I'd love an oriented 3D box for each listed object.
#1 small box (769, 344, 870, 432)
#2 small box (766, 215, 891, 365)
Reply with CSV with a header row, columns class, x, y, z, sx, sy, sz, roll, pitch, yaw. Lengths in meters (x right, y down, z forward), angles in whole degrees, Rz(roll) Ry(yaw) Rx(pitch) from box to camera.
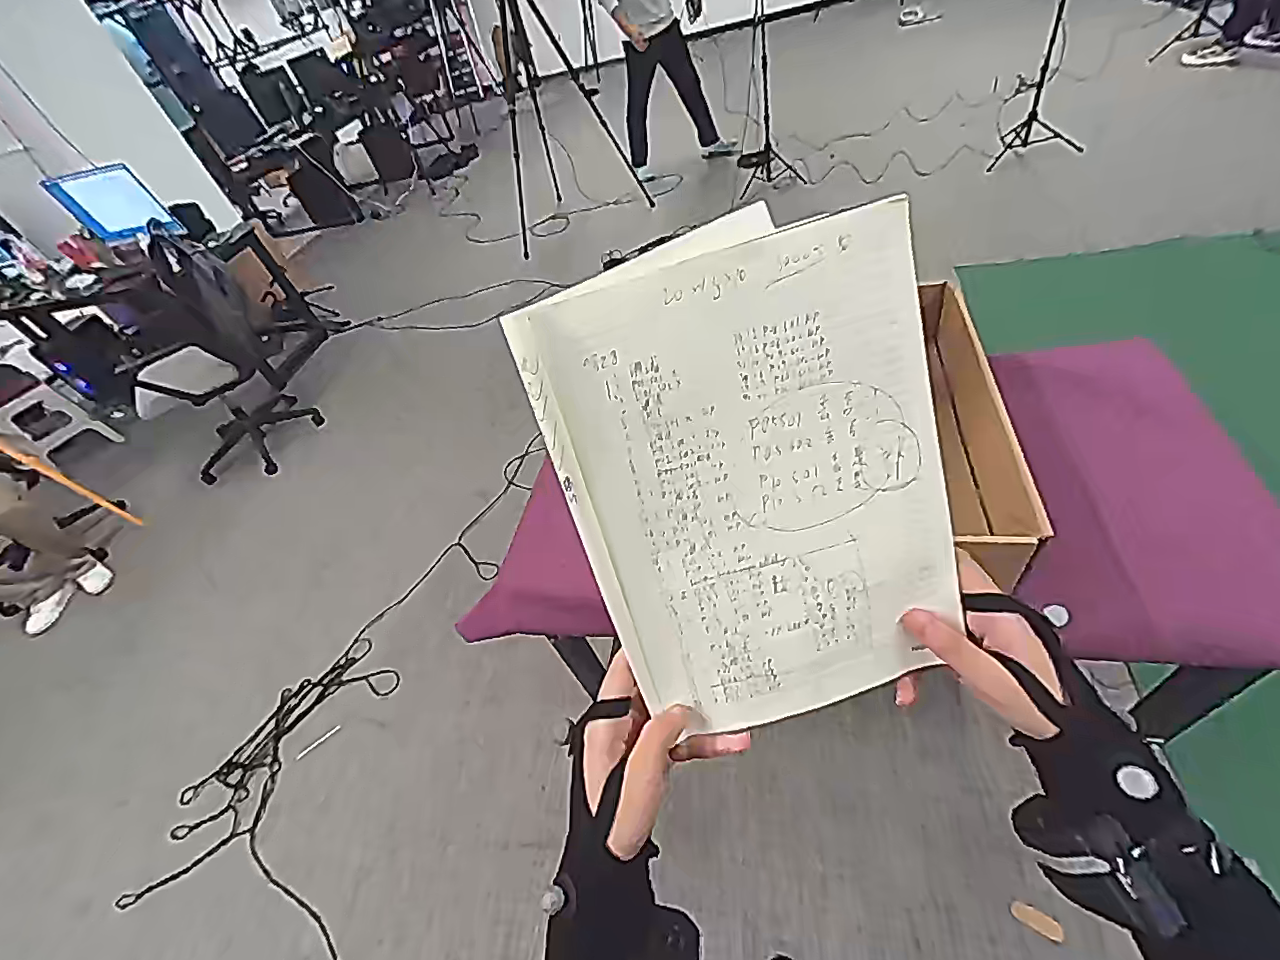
class,x,y,z,sx,sy,sz,roll,pitch,yaw
small box,0.333,-0.202,1.012,0.168,0.176,0.179,0,50,17
small box,0.302,-0.305,0.892,0.179,0.176,0.168,-2,49,15
